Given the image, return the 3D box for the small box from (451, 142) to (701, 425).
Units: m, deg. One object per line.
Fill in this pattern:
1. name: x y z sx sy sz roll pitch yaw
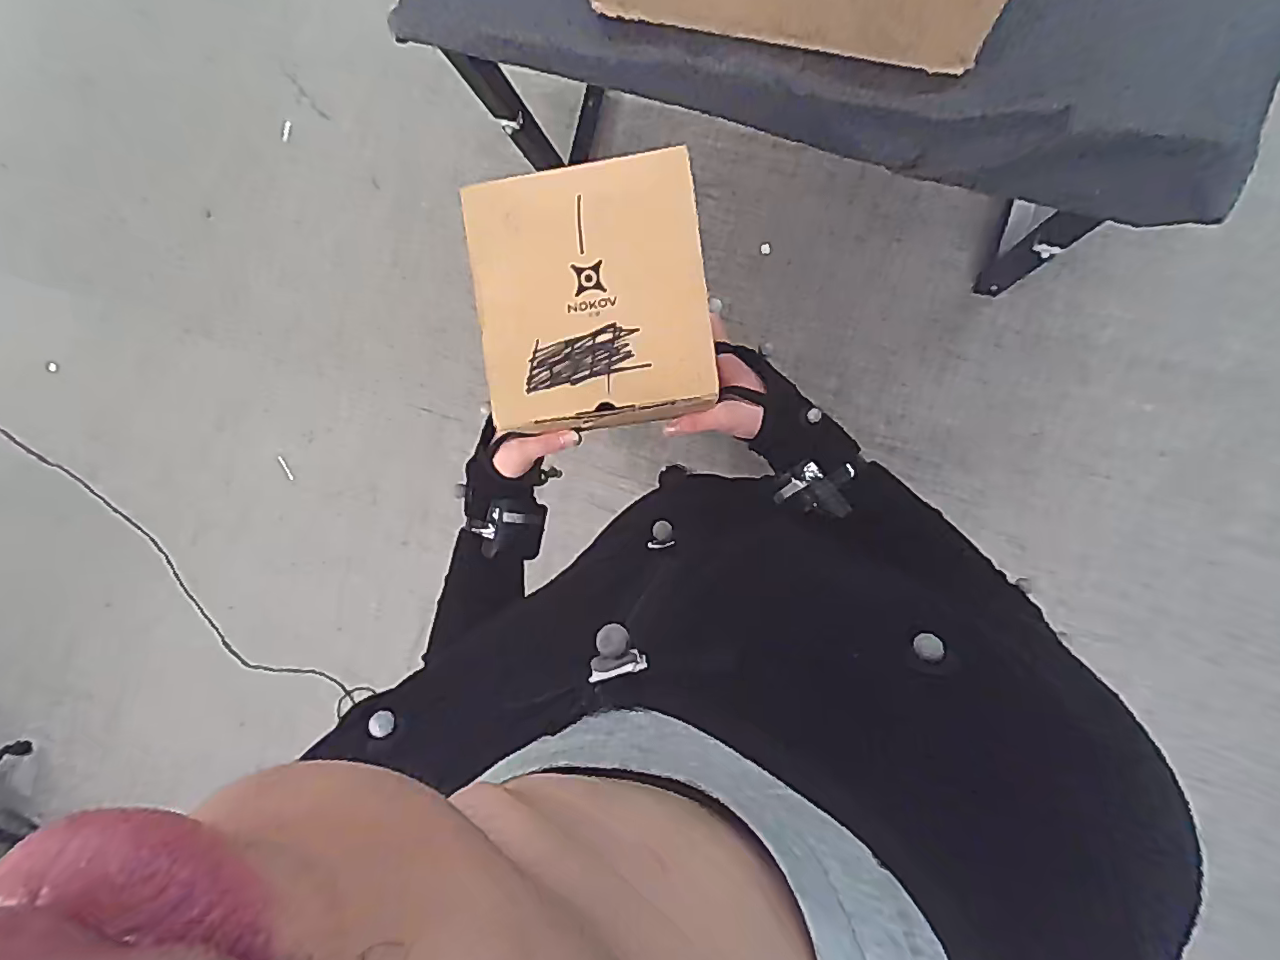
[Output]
1. small box: -0.037 -0.142 0.462 0.168 0.176 0.179 -7 92 6
